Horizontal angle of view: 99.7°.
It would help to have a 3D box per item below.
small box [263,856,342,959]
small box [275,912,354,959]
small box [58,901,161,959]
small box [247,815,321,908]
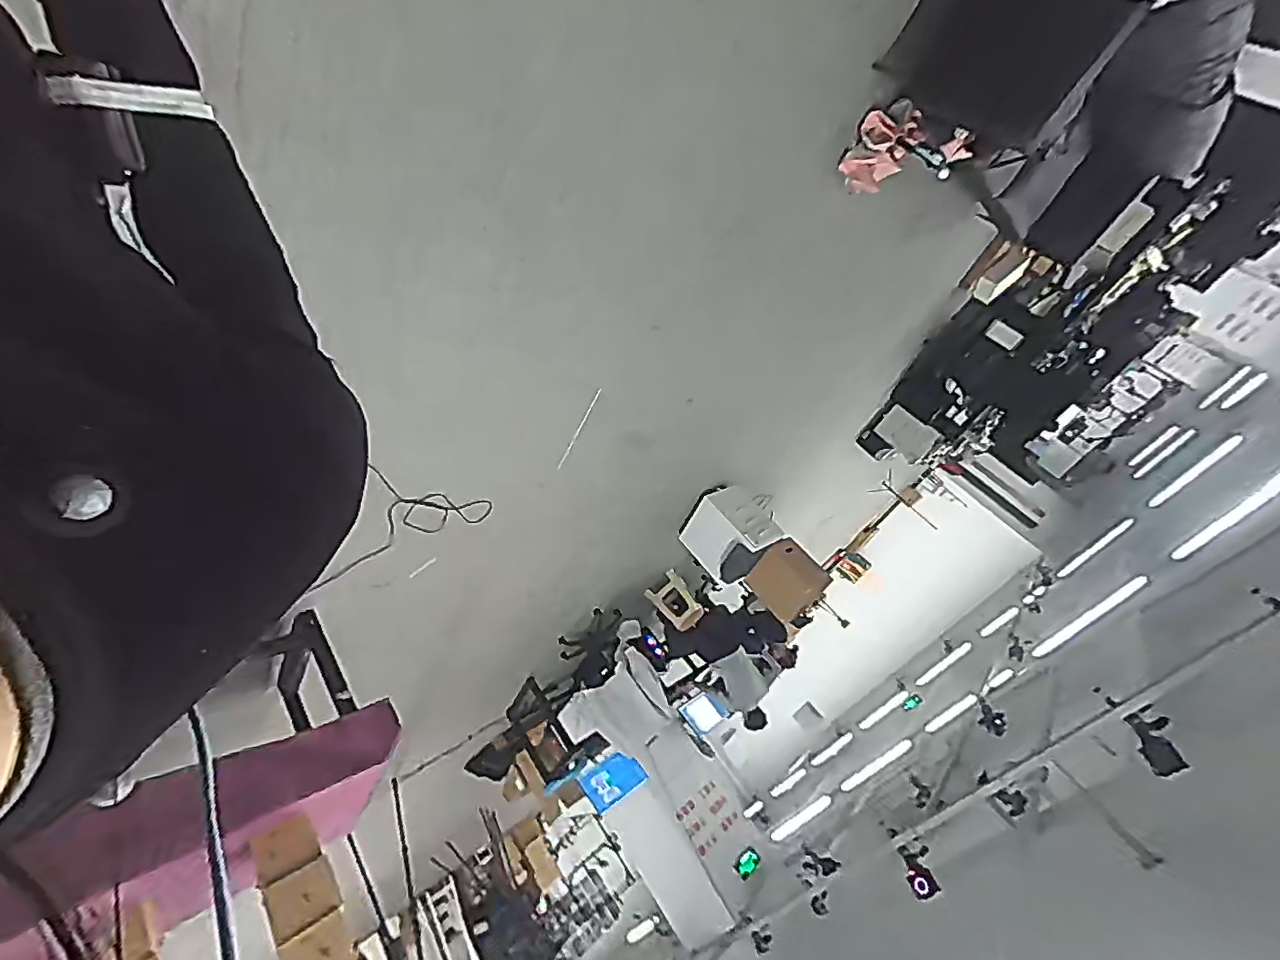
[{"bbox_3d":[-1.058,1.331,1.687,0.179,0.176,0.168,-13,142,-44],"label":"small box"},{"bbox_3d":[-0.963,1.434,1.603,0.168,0.176,0.179,-16,144,-40],"label":"small box"},{"bbox_3d":[-1.448,1.305,1.483,0.168,0.176,0.179,-18,146,-40],"label":"small box"},{"bbox_3d":[-1.168,1.240,1.770,0.168,0.176,0.179,-12,142,-44],"label":"small box"}]
